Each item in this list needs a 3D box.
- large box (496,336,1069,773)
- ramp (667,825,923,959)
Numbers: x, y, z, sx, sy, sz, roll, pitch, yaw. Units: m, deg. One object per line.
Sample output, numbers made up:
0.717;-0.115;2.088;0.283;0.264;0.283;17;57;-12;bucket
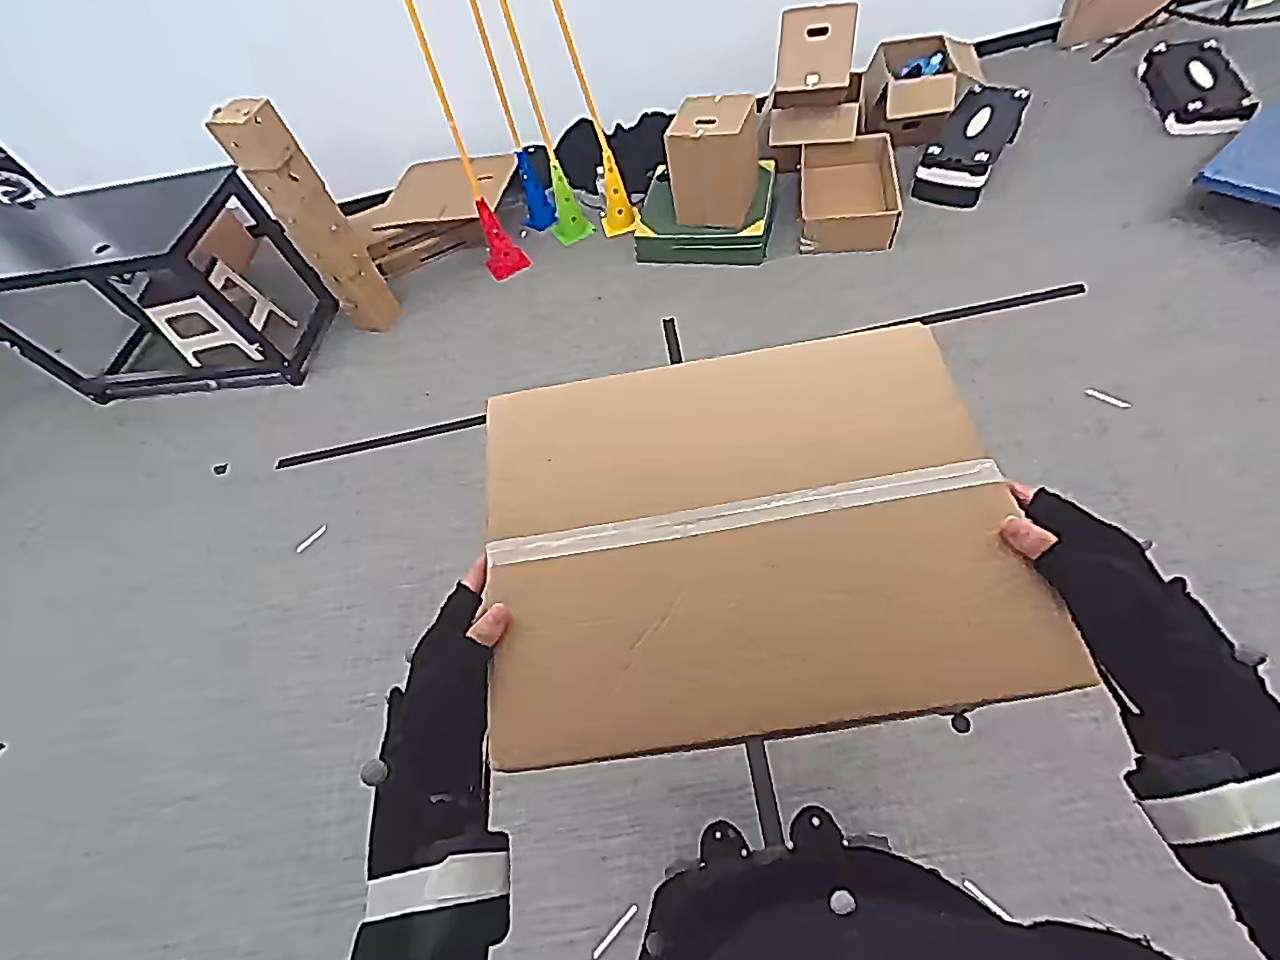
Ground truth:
0.098;0.100;0.573;0.408;0.320;0.320;-10;63;3;large box
0.374;1.249;1.007;0.509;0.206;0.991;-12;57;3;ramp
